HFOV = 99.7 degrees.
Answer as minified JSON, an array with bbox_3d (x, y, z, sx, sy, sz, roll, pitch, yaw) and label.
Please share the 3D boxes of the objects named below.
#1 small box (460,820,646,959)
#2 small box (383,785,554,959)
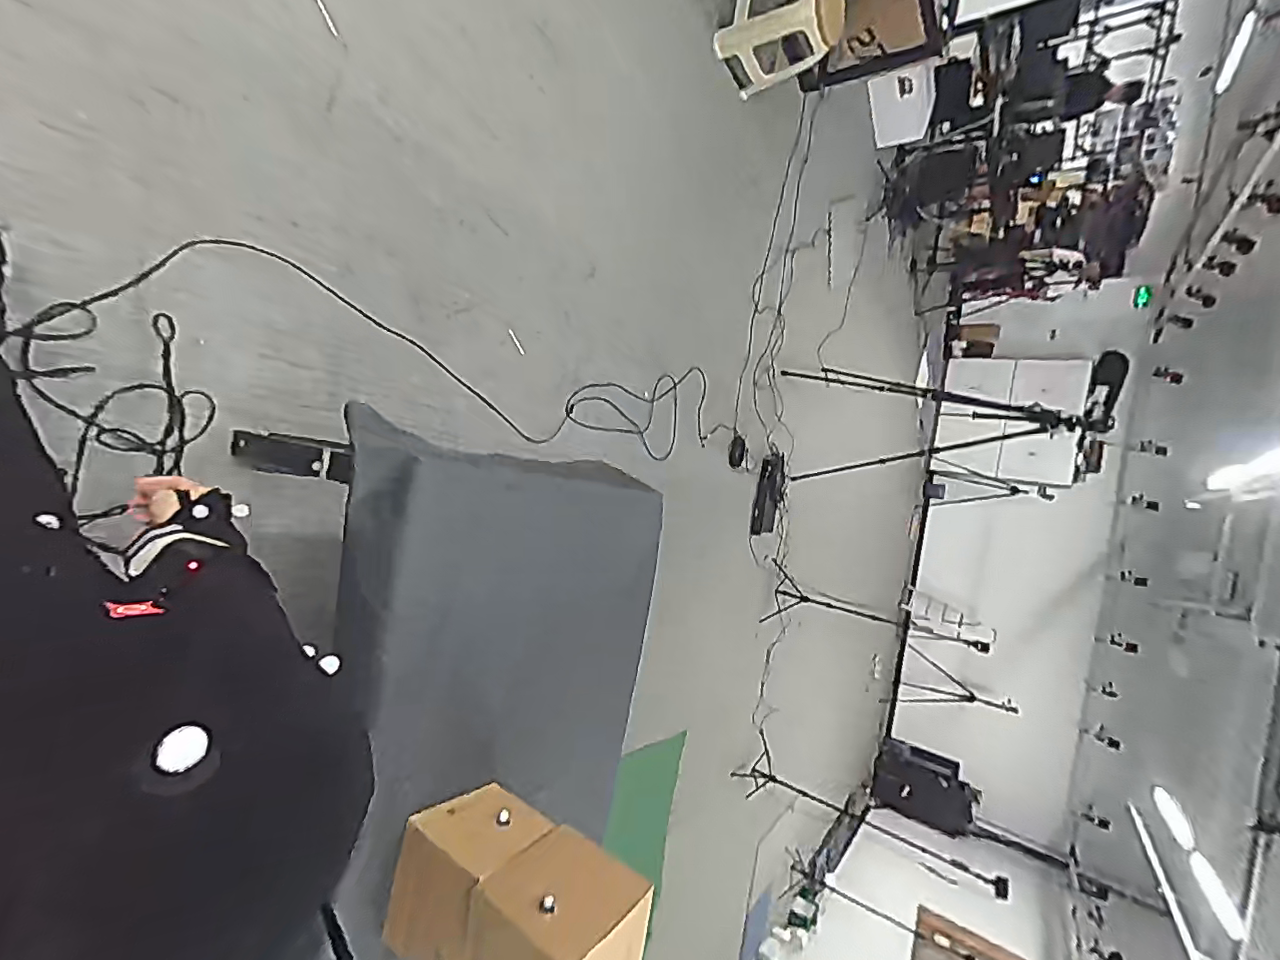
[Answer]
[{"bbox_3d":[-0.119,0.604,0.717,0.179,0.176,0.168,3,97,-56],"label":"small box"},{"bbox_3d":[-0.253,0.588,0.807,0.168,0.176,0.179,14,87,-55],"label":"small box"}]
